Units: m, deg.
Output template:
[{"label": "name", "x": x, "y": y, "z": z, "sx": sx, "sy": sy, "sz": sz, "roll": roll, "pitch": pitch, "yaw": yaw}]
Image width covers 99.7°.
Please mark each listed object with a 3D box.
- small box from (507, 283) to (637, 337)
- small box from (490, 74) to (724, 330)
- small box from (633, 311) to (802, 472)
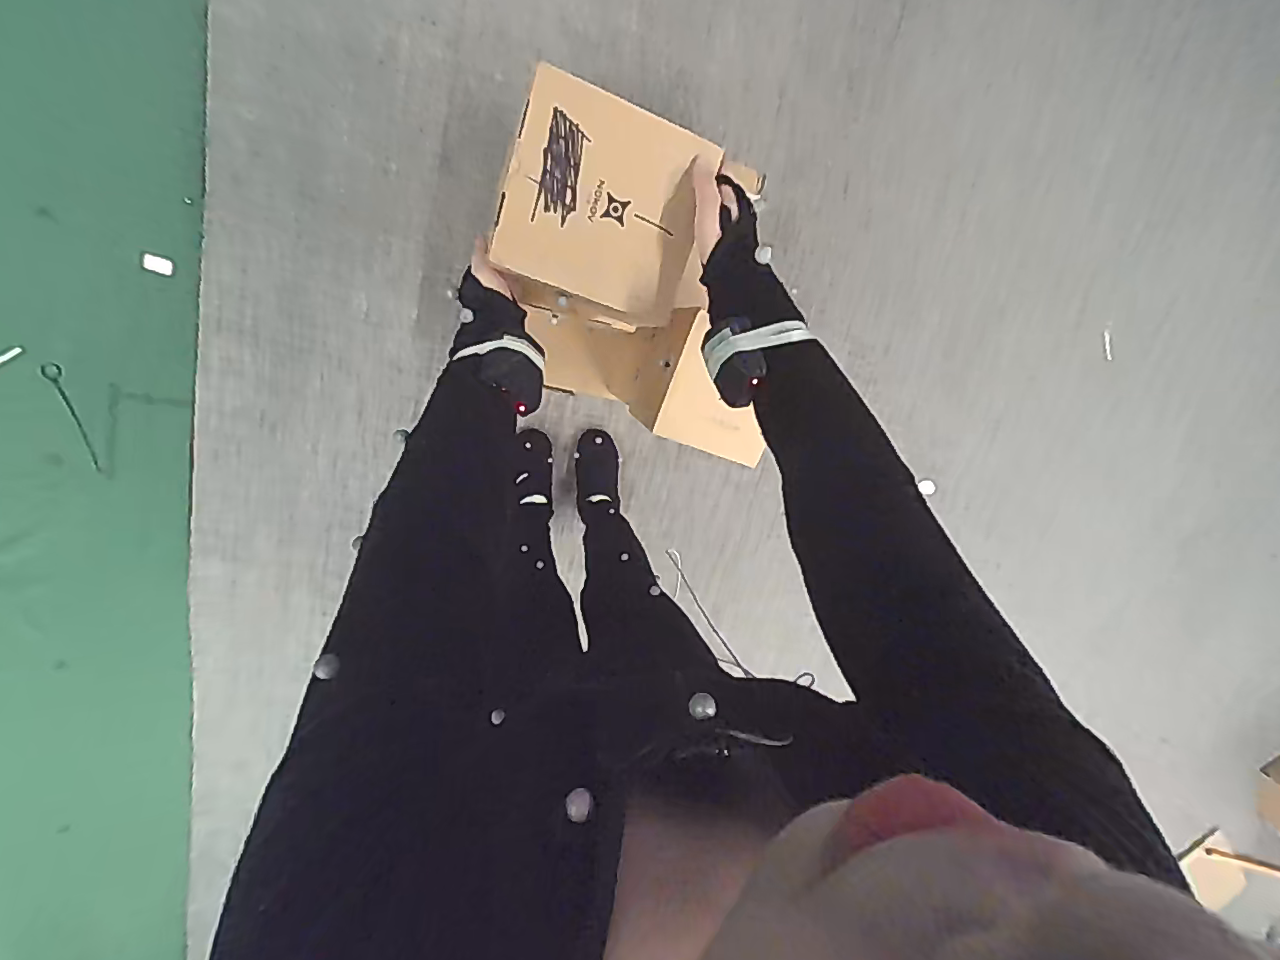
[{"label": "small box", "x": -0.079, "y": -0.298, "z": 0.718, "sx": 0.168, "sy": 0.176, "sz": 0.179, "roll": 11, "pitch": 104, "yaw": -15}, {"label": "small box", "x": -0.044, "y": -0.263, "z": 0.561, "sx": 0.179, "sy": 0.176, "sz": 0.168, "roll": 15, "pitch": 103, "yaw": -16}, {"label": "small box", "x": 0.102, "y": -0.136, "z": 0.803, "sx": 0.168, "sy": 0.176, "sz": 0.179, "roll": 18, "pitch": 102, "yaw": -17}]
